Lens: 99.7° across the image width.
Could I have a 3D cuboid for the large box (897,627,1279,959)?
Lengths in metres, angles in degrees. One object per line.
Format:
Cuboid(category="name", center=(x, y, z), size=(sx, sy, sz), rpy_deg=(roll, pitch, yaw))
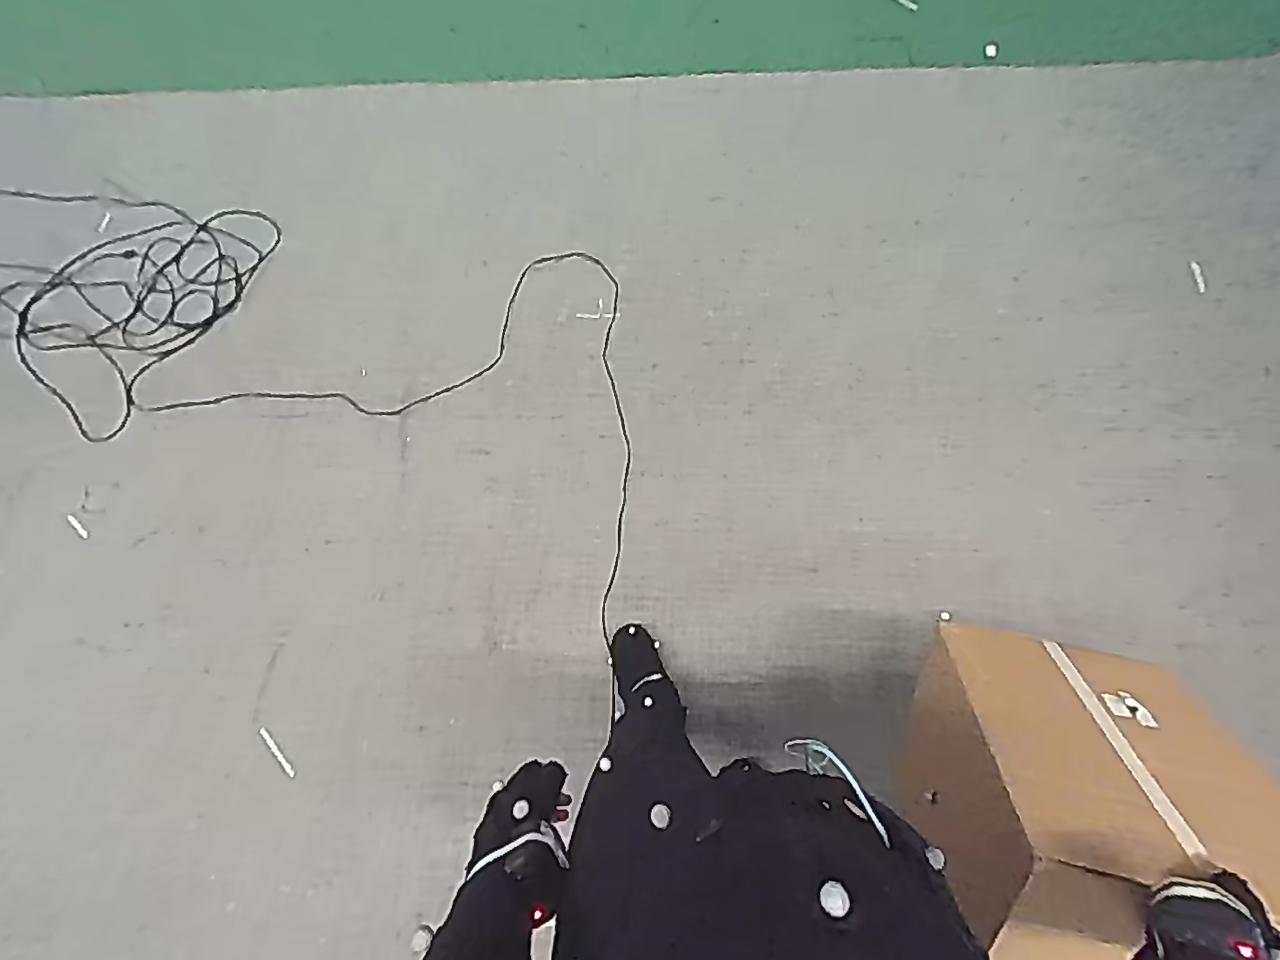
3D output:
Cuboid(category="large box", center=(0.569, 0.464, 0.717), size=(0.320, 0.408, 0.320), rpy_deg=(10, 111, 12))
